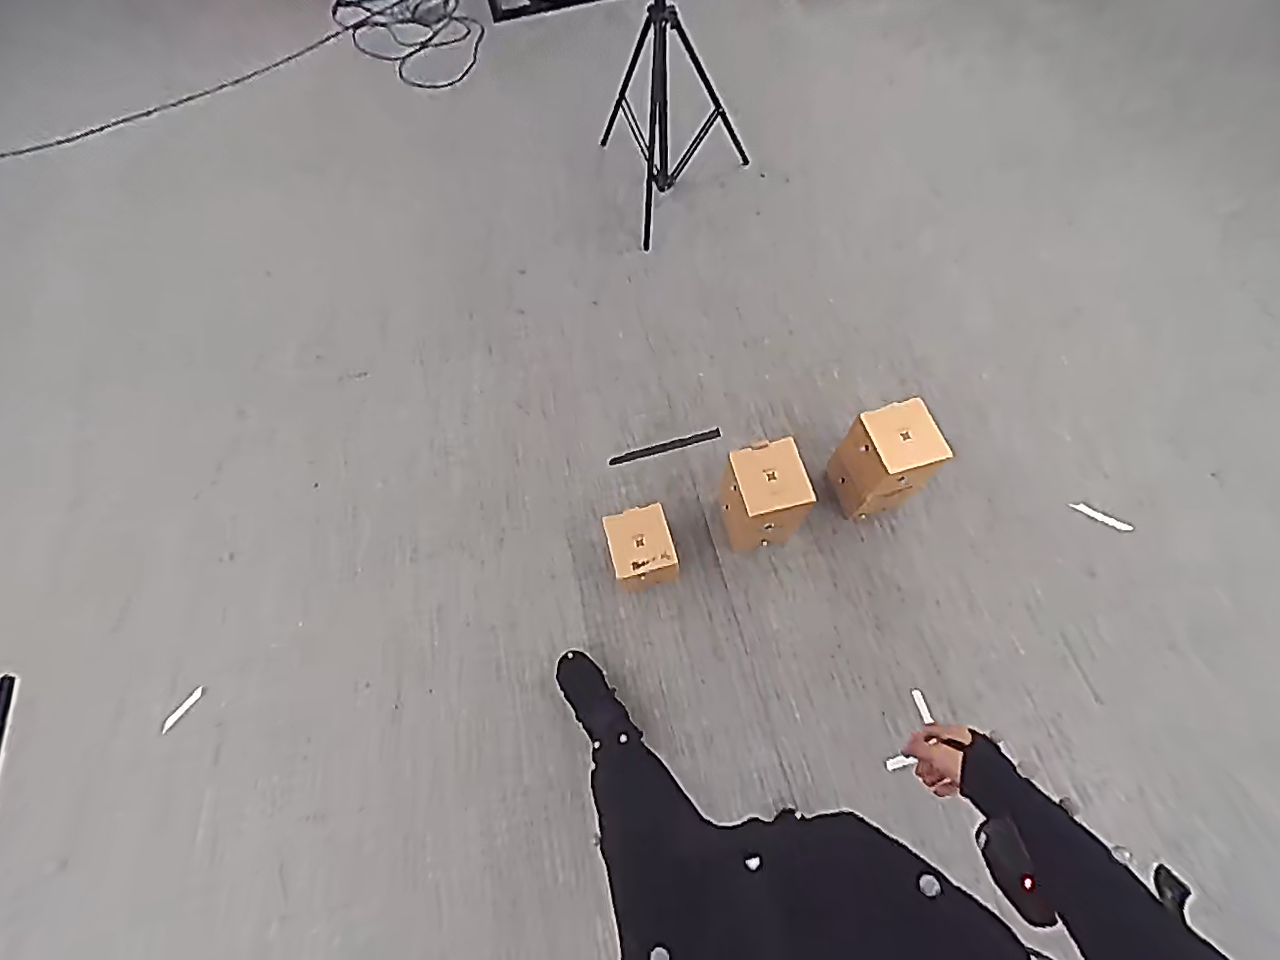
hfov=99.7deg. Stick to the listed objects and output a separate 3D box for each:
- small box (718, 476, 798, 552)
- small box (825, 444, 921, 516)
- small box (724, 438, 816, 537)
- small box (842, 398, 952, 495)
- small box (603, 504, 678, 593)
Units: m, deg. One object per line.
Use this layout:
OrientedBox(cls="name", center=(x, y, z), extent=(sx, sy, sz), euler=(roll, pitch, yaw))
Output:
OrientedBox(cls="small box", center=(0.320, 0.081, 1.502), extent=(0.168, 0.176, 0.179), euler=(-13, 67, -2))
OrientedBox(cls="small box", center=(0.647, -0.011, 1.523), extent=(0.168, 0.176, 0.179), euler=(-17, 66, -4))
OrientedBox(cls="small box", center=(0.314, 0.022, 1.348), extent=(0.168, 0.176, 0.179), euler=(-14, 67, -2))
OrientedBox(cls="small box", center=(0.642, -0.075, 1.374), extent=(0.168, 0.176, 0.179), euler=(-16, 66, -4))
OrientedBox(cls="small box", center=(0.002, 0.192, 1.475), extent=(0.168, 0.176, 0.179), euler=(-15, 66, -2))
